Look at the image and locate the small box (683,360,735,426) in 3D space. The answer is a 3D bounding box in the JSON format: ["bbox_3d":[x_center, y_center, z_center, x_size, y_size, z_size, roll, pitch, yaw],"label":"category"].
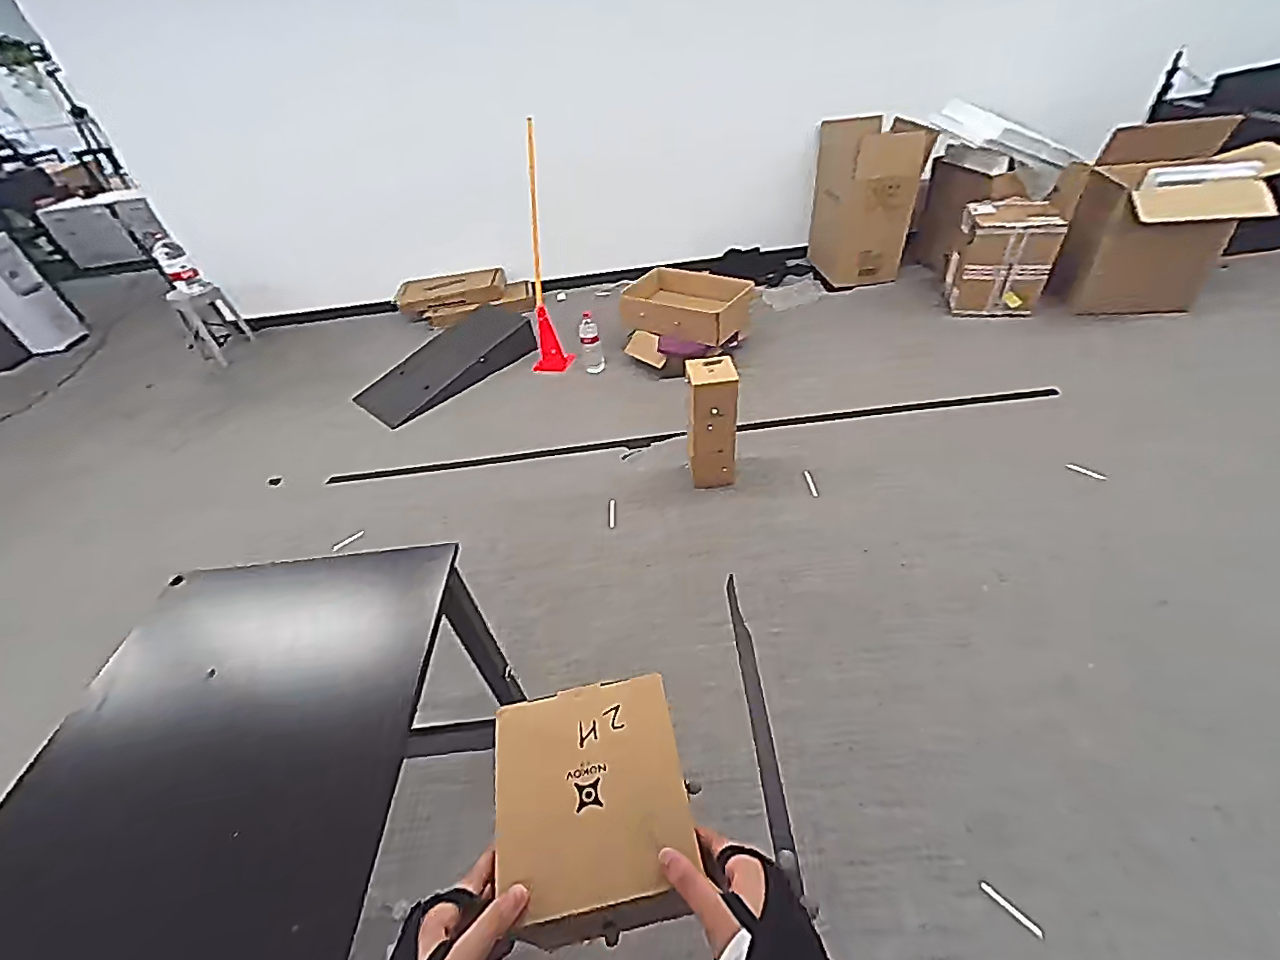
[{"bbox_3d":[0.252,-0.320,2.004,0.168,0.176,0.179,-8,41,0],"label":"small box"}]

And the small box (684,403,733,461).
[{"bbox_3d":[0.265,-0.196,2.111,0.168,0.176,0.179,-8,40,0],"label":"small box"}]

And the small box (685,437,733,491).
[{"bbox_3d":[0.282,-0.074,2.219,0.179,0.176,0.168,-8,40,2],"label":"small box"}]

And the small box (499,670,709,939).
[{"bbox_3d":[-0.032,0.320,0.528,0.168,0.176,0.179,-12,44,-3],"label":"small box"}]
